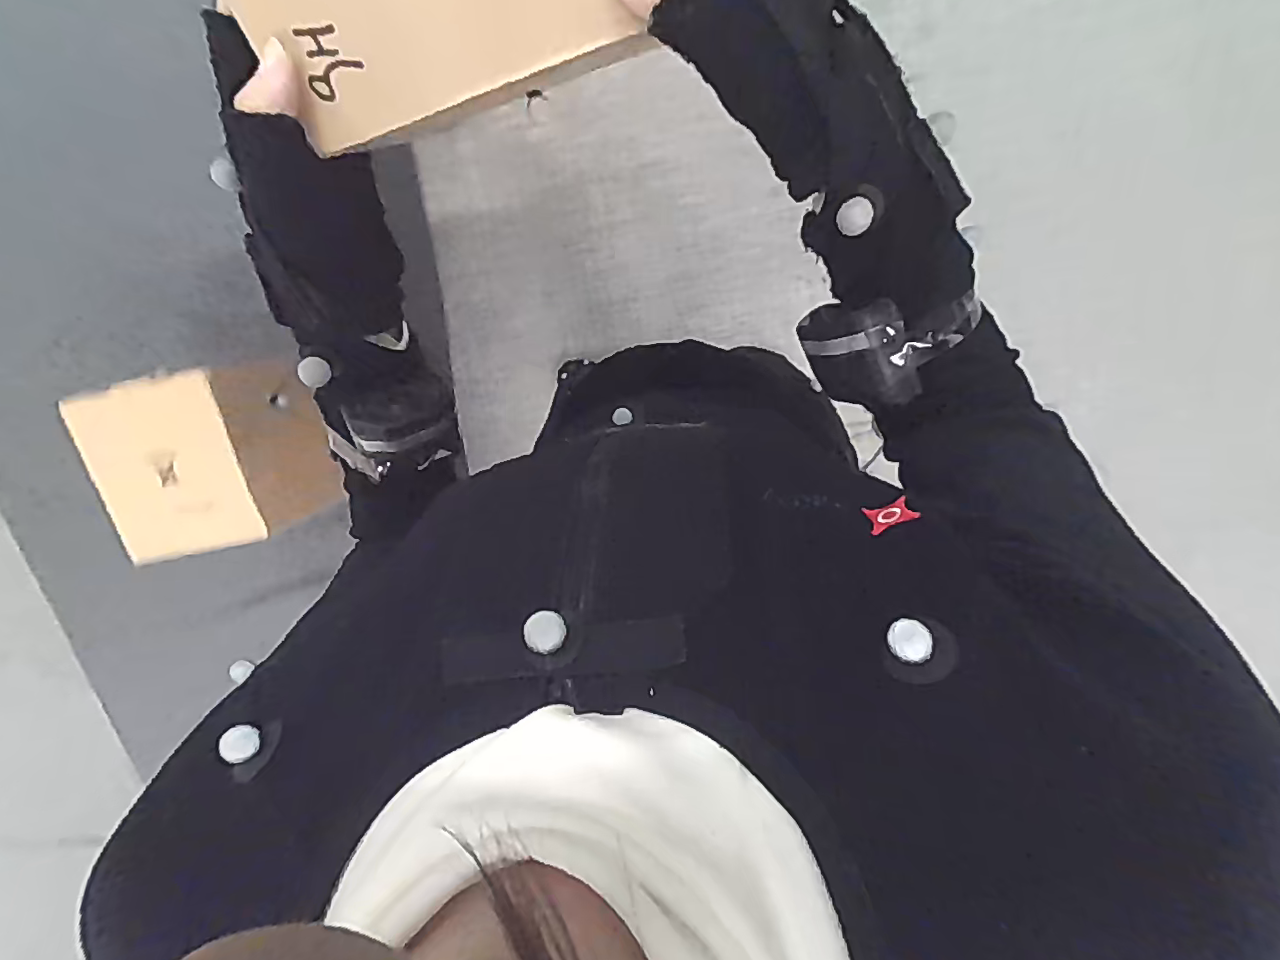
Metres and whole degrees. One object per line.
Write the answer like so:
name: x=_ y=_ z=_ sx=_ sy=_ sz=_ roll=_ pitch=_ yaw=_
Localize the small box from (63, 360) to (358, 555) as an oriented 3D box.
small box: x=-0.468 y=-0.037 z=0.622 sx=0.168 sy=0.176 sz=0.179 roll=-11 pitch=106 yaw=8
